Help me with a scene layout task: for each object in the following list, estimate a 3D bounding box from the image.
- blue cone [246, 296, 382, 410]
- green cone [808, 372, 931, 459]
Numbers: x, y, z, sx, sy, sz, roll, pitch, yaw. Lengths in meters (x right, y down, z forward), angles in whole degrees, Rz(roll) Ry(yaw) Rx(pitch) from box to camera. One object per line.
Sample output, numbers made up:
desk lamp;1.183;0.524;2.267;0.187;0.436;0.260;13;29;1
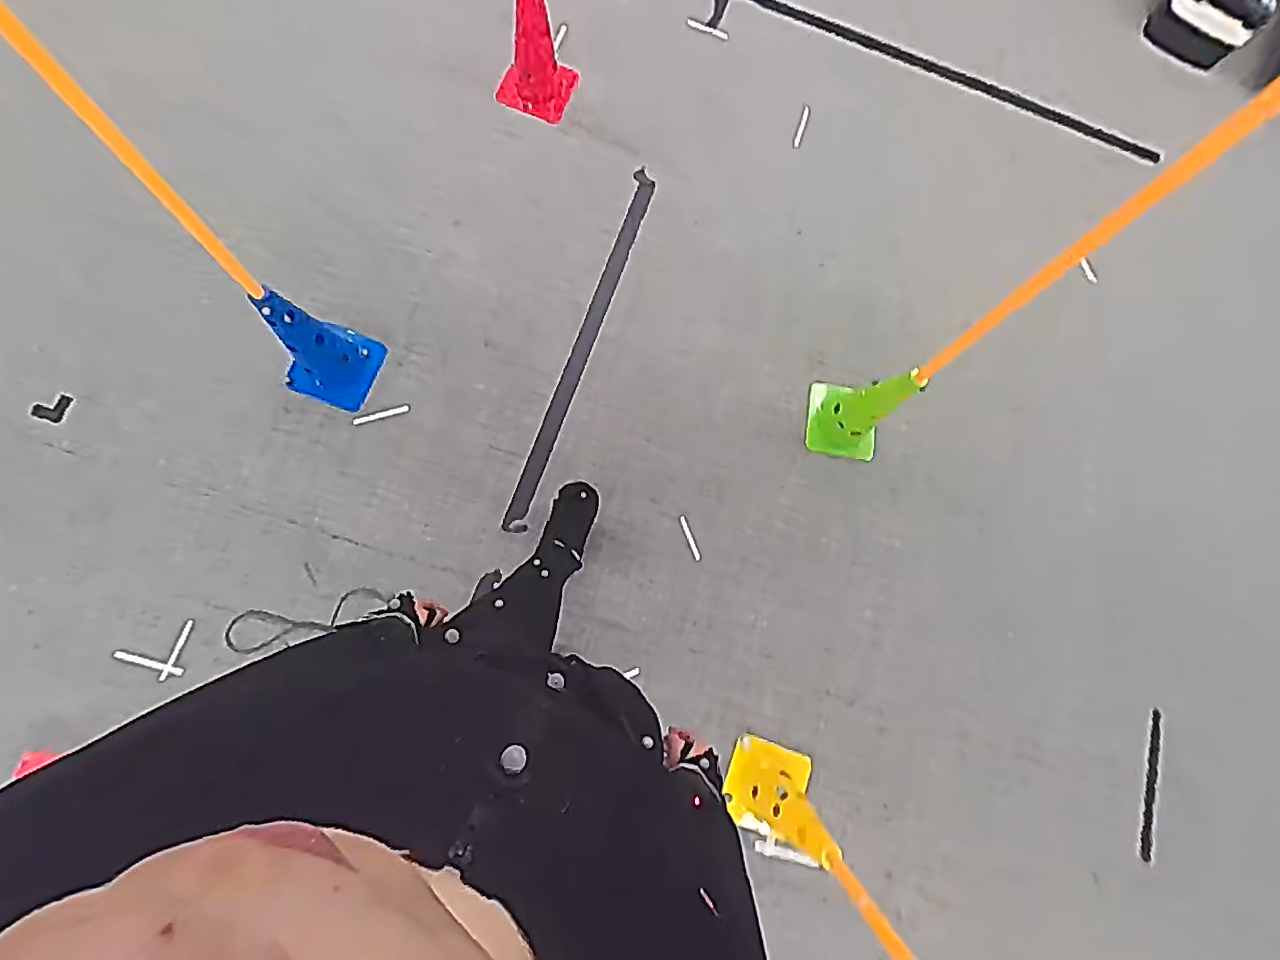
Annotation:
blue cone;-0.761;-0.317;1.228;0.193;0.380;0.192;22;78;-2
green cone;0.593;-0.195;1.351;0.200;0.368;0.202;9;80;-5
